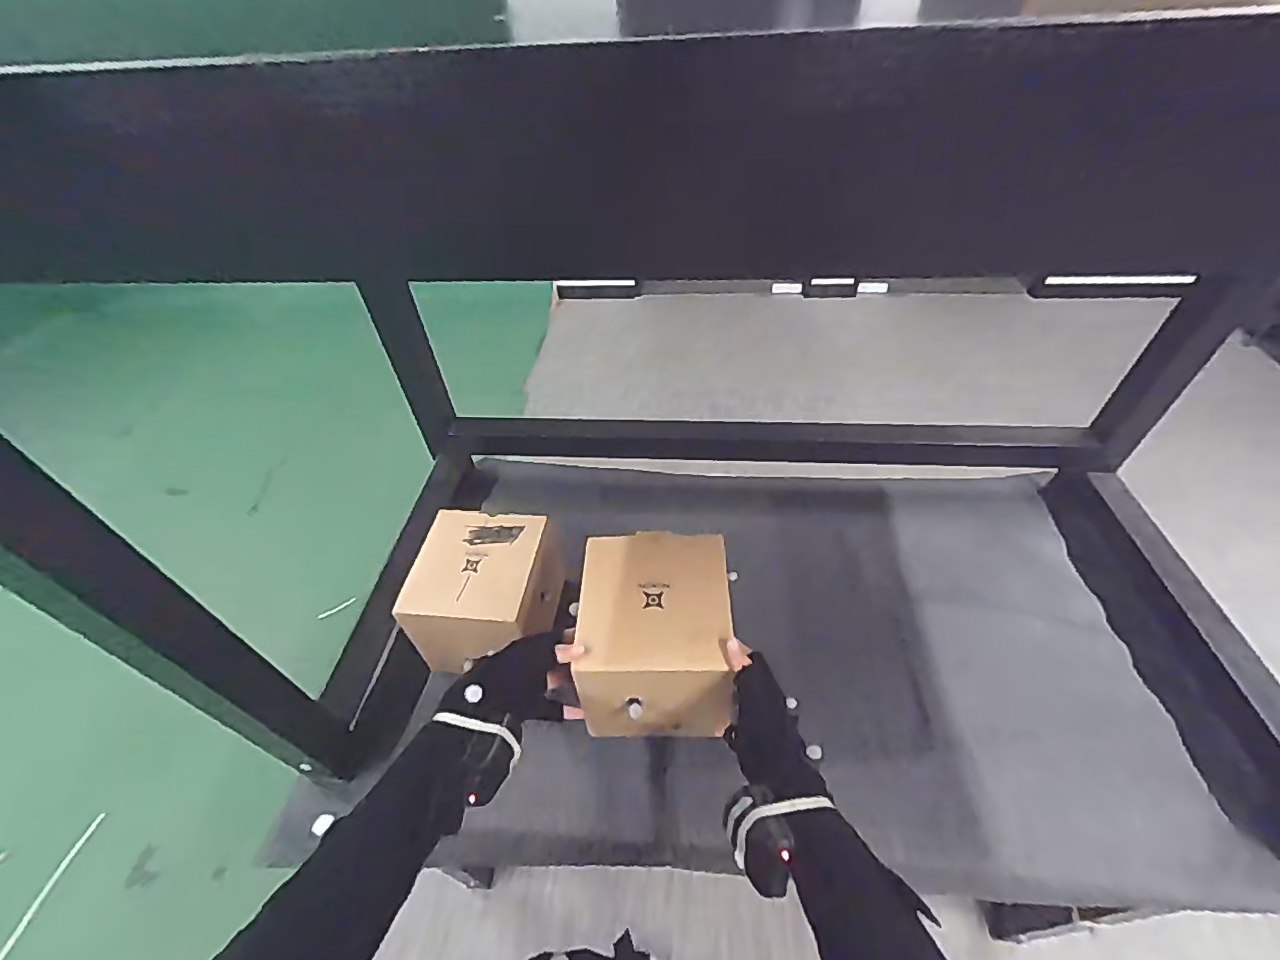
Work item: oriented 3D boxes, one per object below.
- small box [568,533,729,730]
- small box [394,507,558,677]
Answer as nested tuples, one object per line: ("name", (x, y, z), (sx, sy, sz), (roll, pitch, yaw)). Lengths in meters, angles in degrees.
("small box", (0.016, 0.183, 0.650), (0.168, 0.176, 0.179), (-1, 43, 3))
("small box", (-0.223, 0.163, 0.794), (0.168, 0.176, 0.179), (3, 46, 6))
